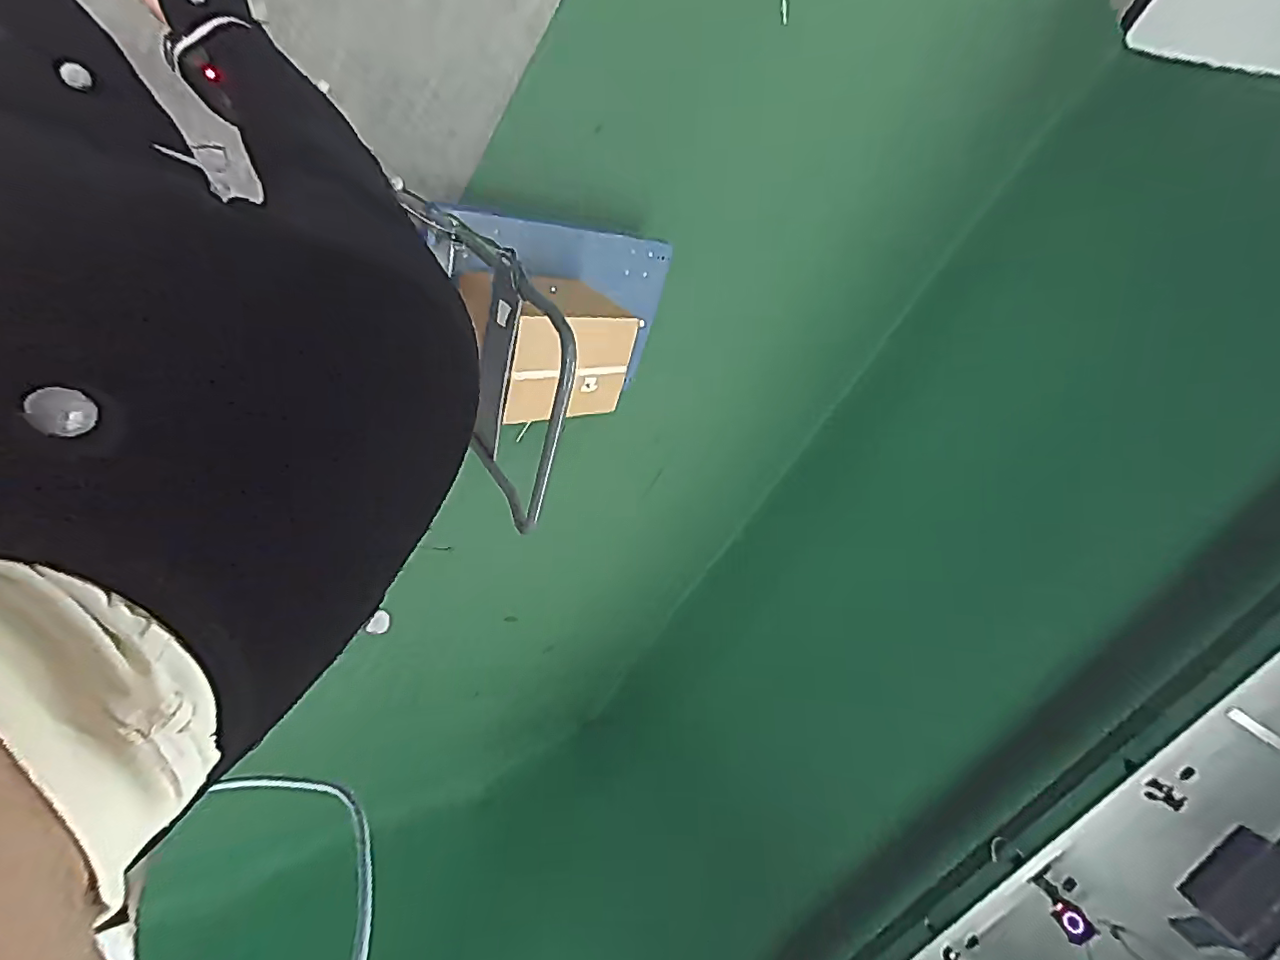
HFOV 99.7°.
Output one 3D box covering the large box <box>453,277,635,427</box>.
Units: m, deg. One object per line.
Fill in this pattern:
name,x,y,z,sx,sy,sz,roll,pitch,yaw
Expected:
large box,-0.291,-0.386,1.590,0.408,0.320,0.320,-14,135,-42
